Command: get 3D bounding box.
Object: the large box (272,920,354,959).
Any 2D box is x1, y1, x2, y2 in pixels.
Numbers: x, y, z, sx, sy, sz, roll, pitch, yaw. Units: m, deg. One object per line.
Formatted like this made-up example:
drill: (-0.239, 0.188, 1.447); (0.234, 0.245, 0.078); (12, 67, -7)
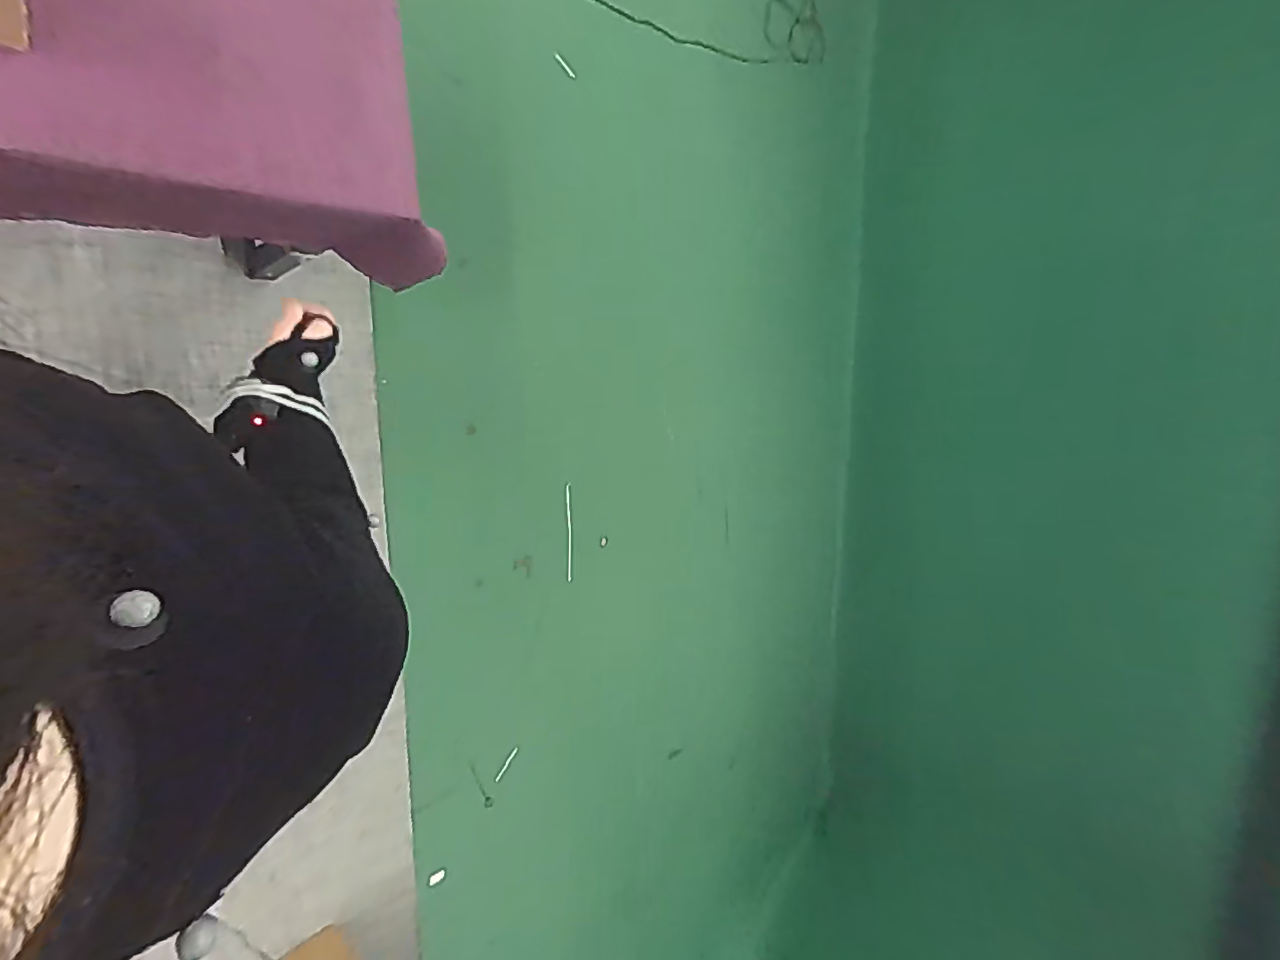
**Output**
large box: (-0.868, 1.478, 1.375); (0.320, 0.320, 0.408); (-12, 107, -46)
